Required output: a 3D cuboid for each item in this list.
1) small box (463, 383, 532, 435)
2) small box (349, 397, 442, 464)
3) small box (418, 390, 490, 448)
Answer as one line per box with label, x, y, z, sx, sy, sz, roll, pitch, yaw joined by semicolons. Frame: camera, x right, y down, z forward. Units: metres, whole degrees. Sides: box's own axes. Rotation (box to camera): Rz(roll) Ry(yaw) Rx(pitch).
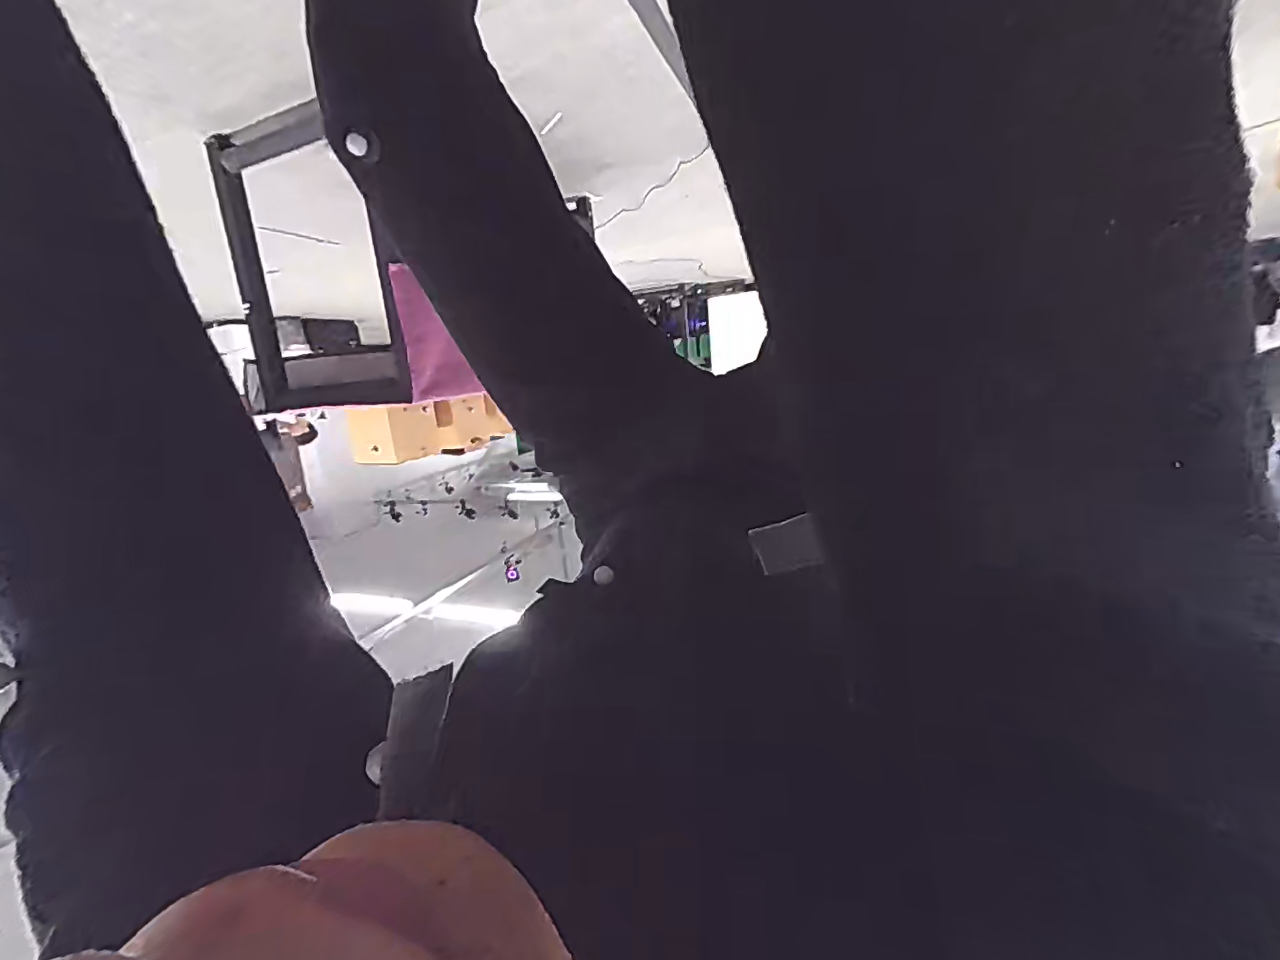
small box;-0.523;-0.261;1.973;0.179;0.176;0.168;2;-166;30
small box;-0.708;-0.147;1.560;0.179;0.176;0.168;1;-165;26
small box;-0.616;-0.200;1.753;0.179;0.176;0.168;-2;-166;21
